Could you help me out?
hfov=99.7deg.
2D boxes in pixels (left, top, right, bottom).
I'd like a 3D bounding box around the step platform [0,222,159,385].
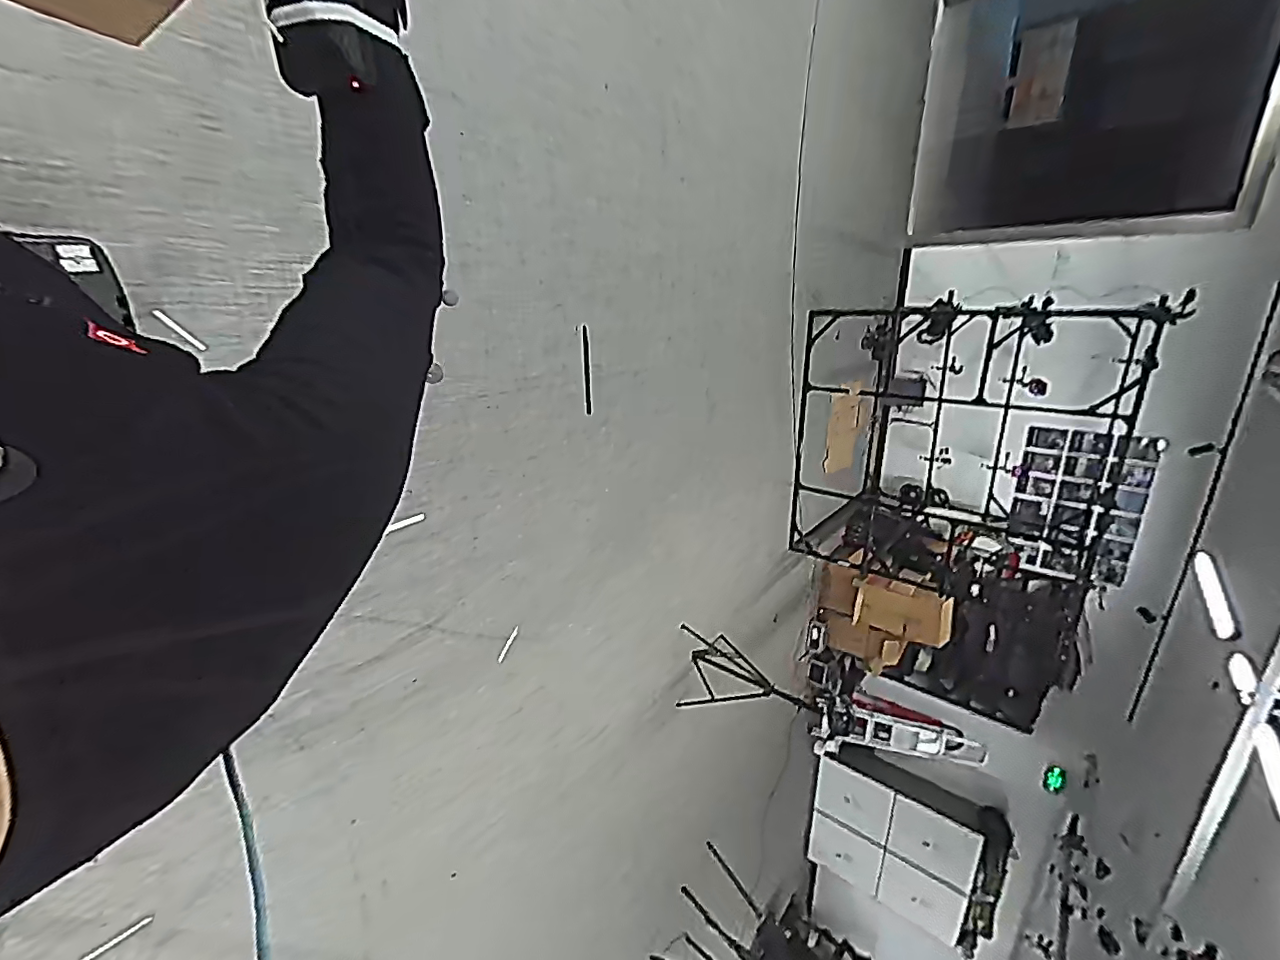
[{"bbox_3d":[-1.287,-0.296,0.928,0.684,0.204,0.286,-25,121,-47],"label":"step platform"}]
